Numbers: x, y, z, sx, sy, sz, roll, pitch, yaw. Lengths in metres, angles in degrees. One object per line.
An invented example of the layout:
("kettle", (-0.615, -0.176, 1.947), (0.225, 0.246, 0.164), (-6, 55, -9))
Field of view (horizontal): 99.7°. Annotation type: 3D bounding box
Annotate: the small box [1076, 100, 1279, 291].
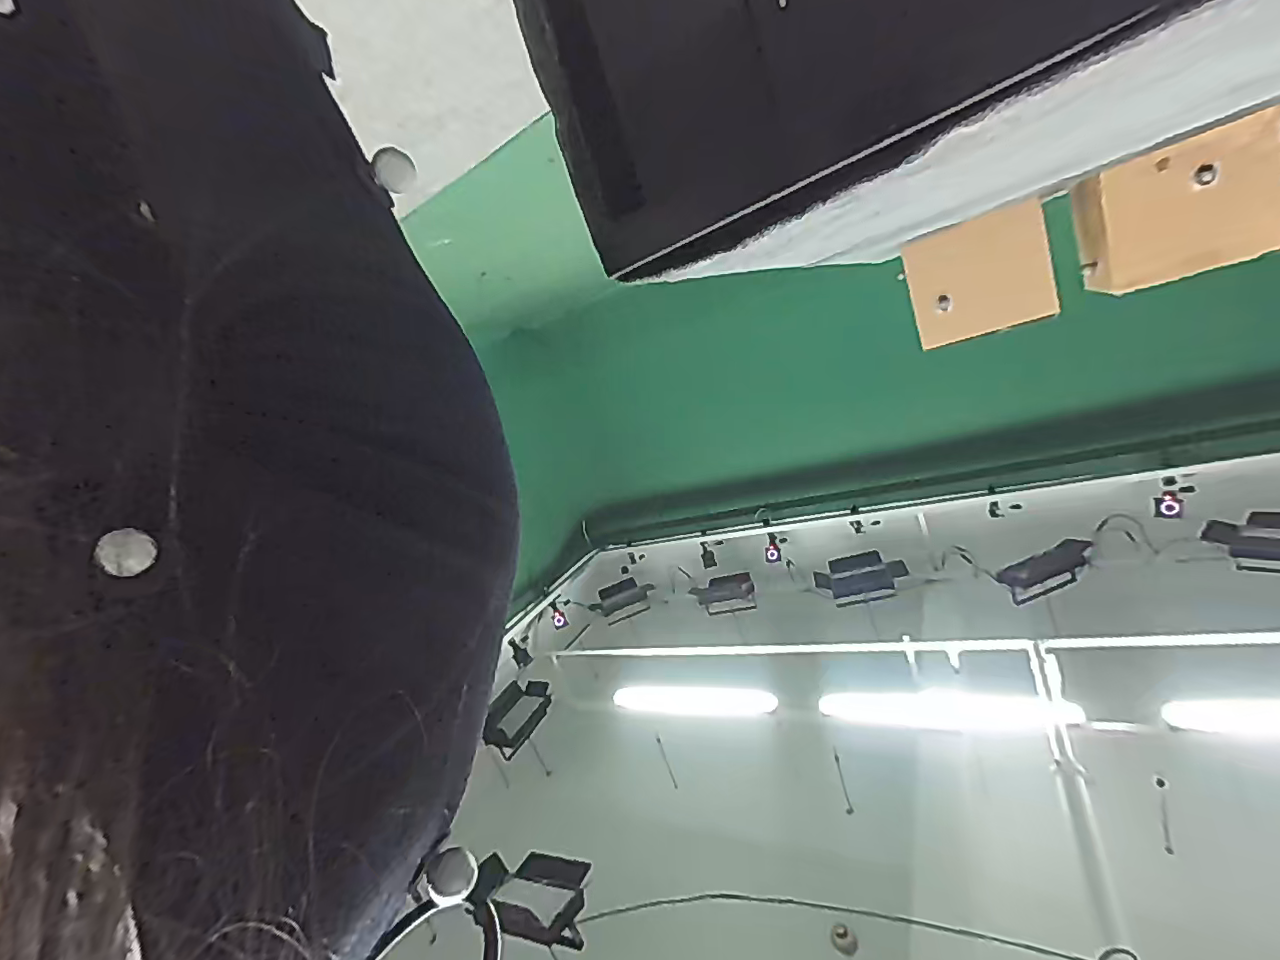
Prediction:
("small box", (0.711, -0.368, 0.724), (0.168, 0.176, 0.179), (-12, -167, 32))
